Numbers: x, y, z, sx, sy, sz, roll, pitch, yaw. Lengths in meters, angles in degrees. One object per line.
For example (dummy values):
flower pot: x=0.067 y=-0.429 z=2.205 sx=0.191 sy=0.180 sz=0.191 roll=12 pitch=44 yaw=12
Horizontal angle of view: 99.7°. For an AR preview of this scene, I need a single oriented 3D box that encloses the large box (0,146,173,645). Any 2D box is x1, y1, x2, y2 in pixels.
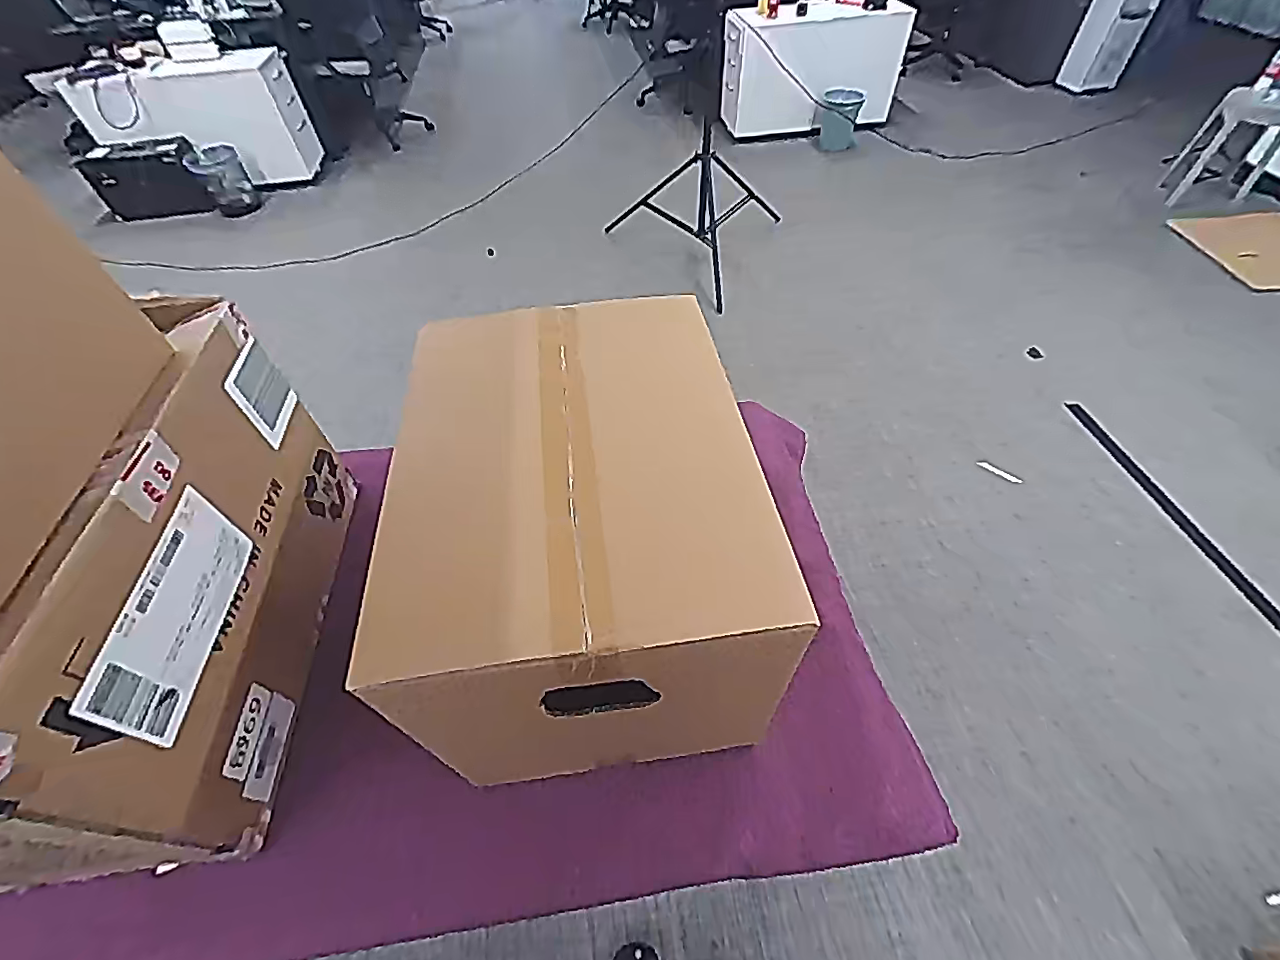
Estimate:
large box: x=-0.602 y=-0.059 z=0.318 sx=0.320 sy=0.320 sz=0.408 roll=-9 pitch=51 yaw=-3
